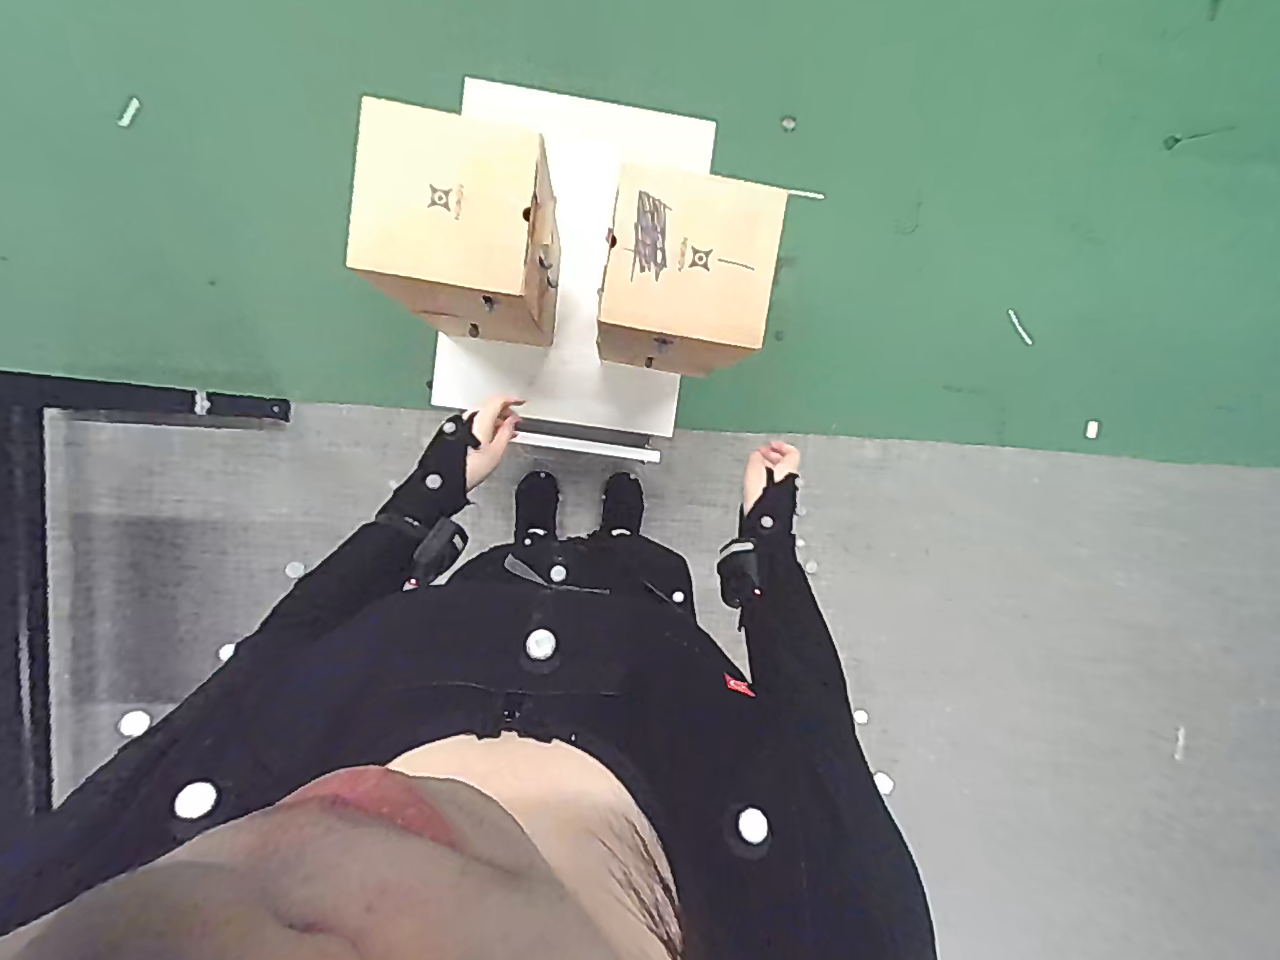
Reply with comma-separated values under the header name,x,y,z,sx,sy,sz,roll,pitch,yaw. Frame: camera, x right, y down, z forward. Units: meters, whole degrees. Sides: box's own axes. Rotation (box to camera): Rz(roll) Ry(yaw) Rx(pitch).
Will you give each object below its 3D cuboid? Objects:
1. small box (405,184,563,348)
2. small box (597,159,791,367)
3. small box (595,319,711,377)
name,x,y,z,sx,sy,sz,roll,pitch,yaw
small box,-0.211,-0.290,0.770,0.179,0.176,0.168,6,94,-5
small box,0.050,-0.231,0.624,0.179,0.176,0.168,9,95,-4
small box,0.036,-0.249,0.787,0.179,0.176,0.168,9,94,-4
